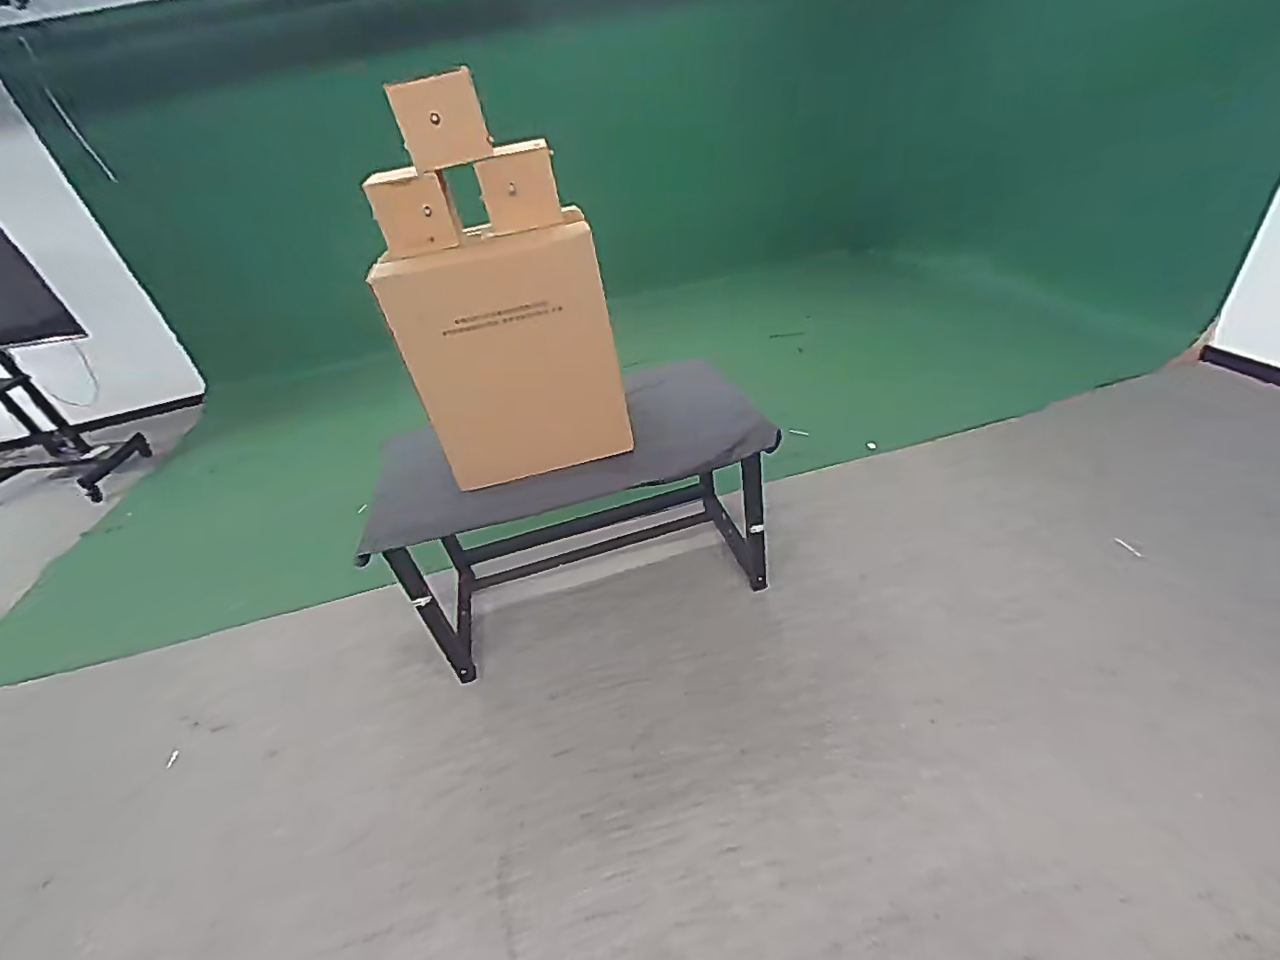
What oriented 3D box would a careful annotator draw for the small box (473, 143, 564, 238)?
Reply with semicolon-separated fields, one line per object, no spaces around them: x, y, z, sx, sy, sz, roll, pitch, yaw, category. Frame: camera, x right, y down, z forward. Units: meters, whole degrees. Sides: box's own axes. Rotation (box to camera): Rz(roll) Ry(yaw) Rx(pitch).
-0.300;-0.724;1.355;0.179;0.176;0.168;-14;39;-2;small box

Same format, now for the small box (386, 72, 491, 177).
-0.452;-0.818;1.245;0.179;0.176;0.168;-16;38;-3;small box

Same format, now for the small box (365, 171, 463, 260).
-0.548;-0.658;1.338;0.168;0.176;0.179;-14;37;-5;small box
